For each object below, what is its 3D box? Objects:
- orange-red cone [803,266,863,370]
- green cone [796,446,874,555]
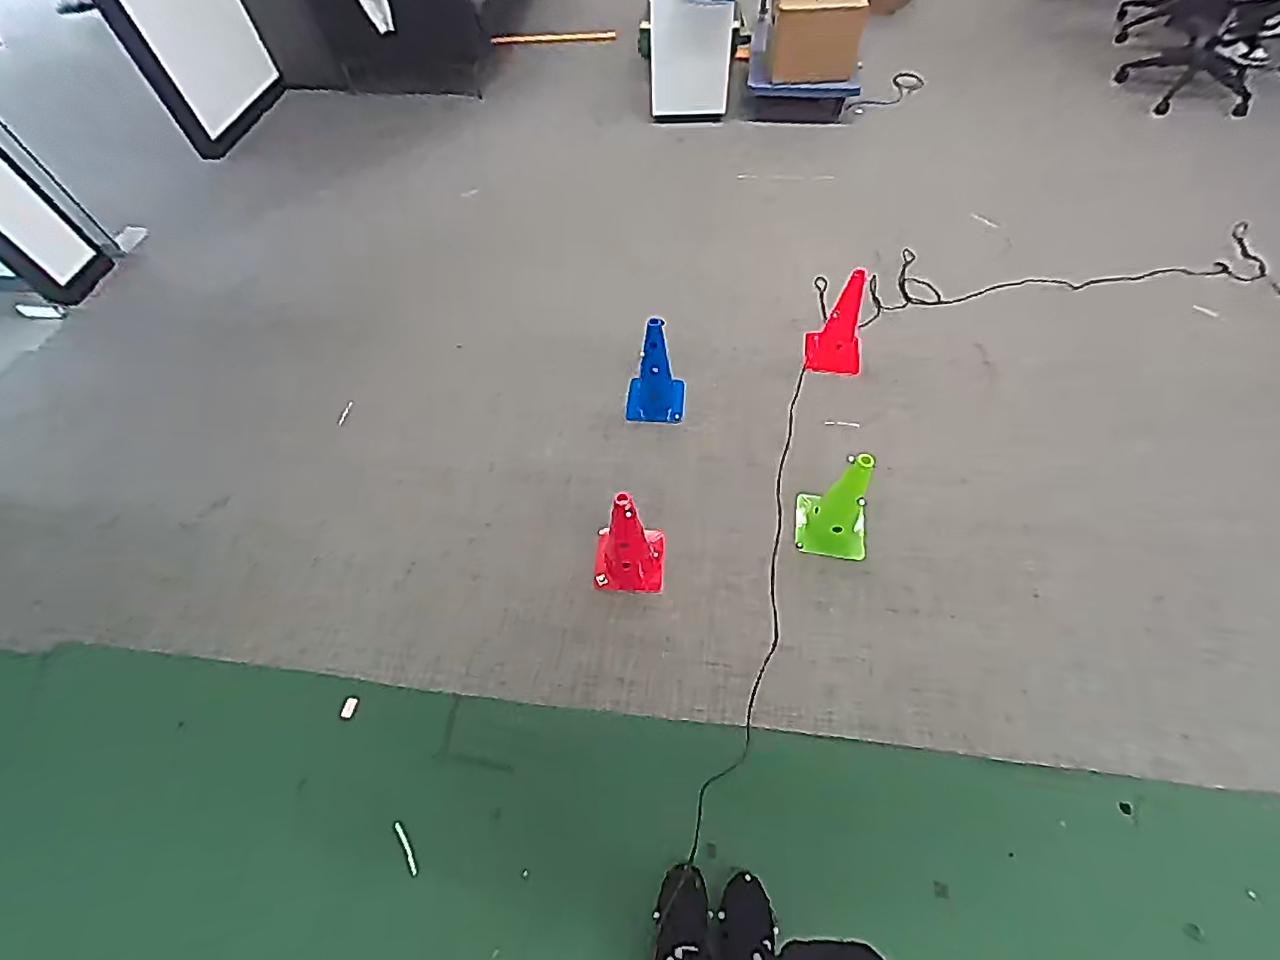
[{"bbox_3d":[0.703,-0.576,1.868,0.198,0.360,0.199,8,60,9],"label":"orange-red cone"},{"bbox_3d":[0.569,0.034,1.486,0.200,0.368,0.202,7,57,7],"label":"green cone"}]
